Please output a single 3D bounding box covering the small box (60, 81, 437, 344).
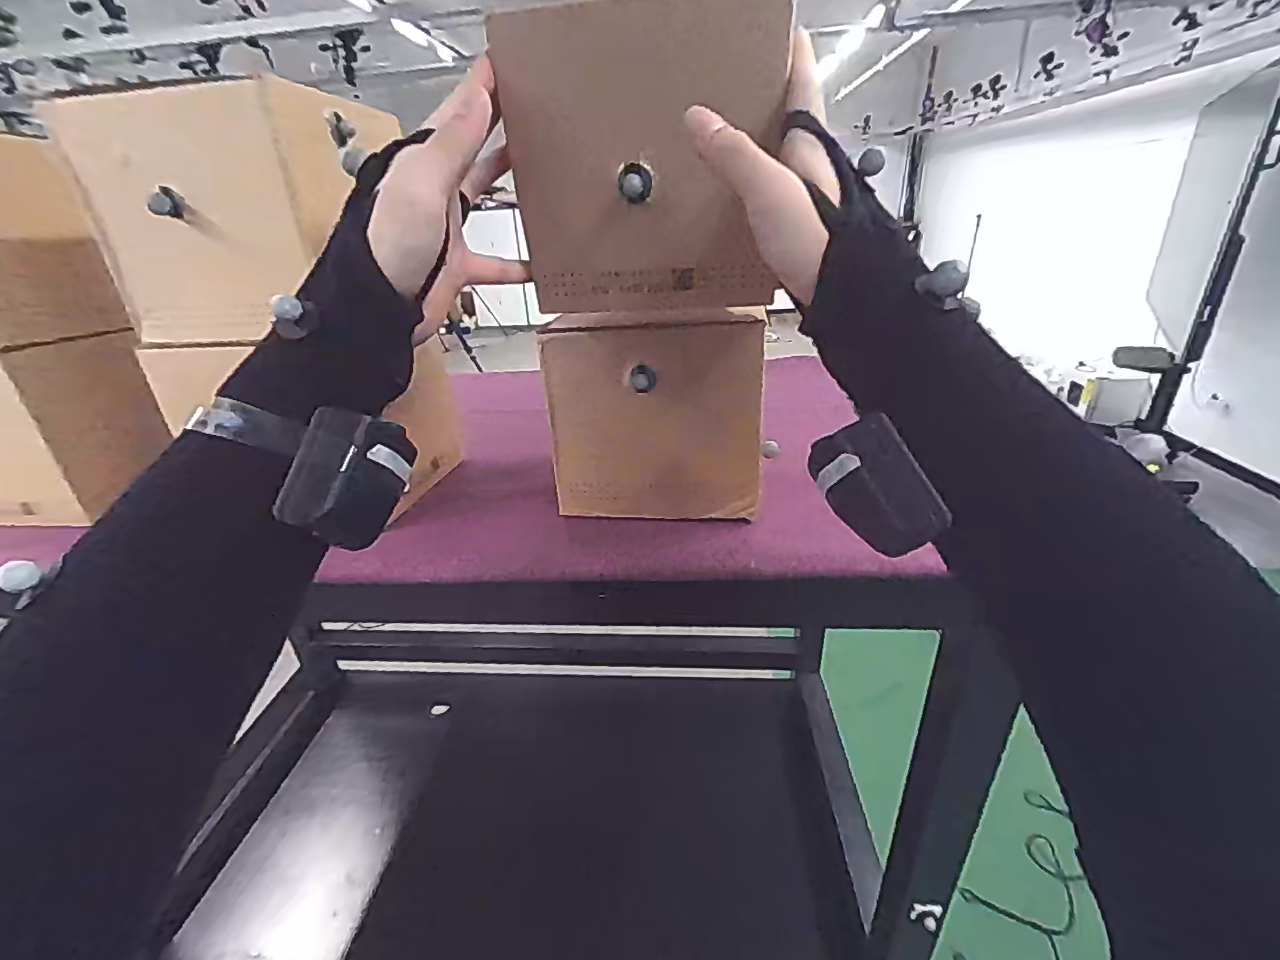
[{"bbox_3d":[-0.308,-0.216,0.470,0.179,0.176,0.168,-1,26,8],"label":"small box"}]

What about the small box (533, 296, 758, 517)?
[{"bbox_3d":[0.021,-0.075,0.509,0.179,0.176,0.168,1,26,11],"label":"small box"}]

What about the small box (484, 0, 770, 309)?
[{"bbox_3d":[0.010,-0.234,0.406,0.168,0.176,0.179,1,36,9],"label":"small box"}]

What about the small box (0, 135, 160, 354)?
[{"bbox_3d":[-0.598,-0.216,0.511,0.168,0.176,0.179,1,24,10],"label":"small box"}]

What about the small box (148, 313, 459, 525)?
[{"bbox_3d":[-0.304,-0.065,0.534,0.179,0.176,0.168,0,25,11],"label":"small box"}]
